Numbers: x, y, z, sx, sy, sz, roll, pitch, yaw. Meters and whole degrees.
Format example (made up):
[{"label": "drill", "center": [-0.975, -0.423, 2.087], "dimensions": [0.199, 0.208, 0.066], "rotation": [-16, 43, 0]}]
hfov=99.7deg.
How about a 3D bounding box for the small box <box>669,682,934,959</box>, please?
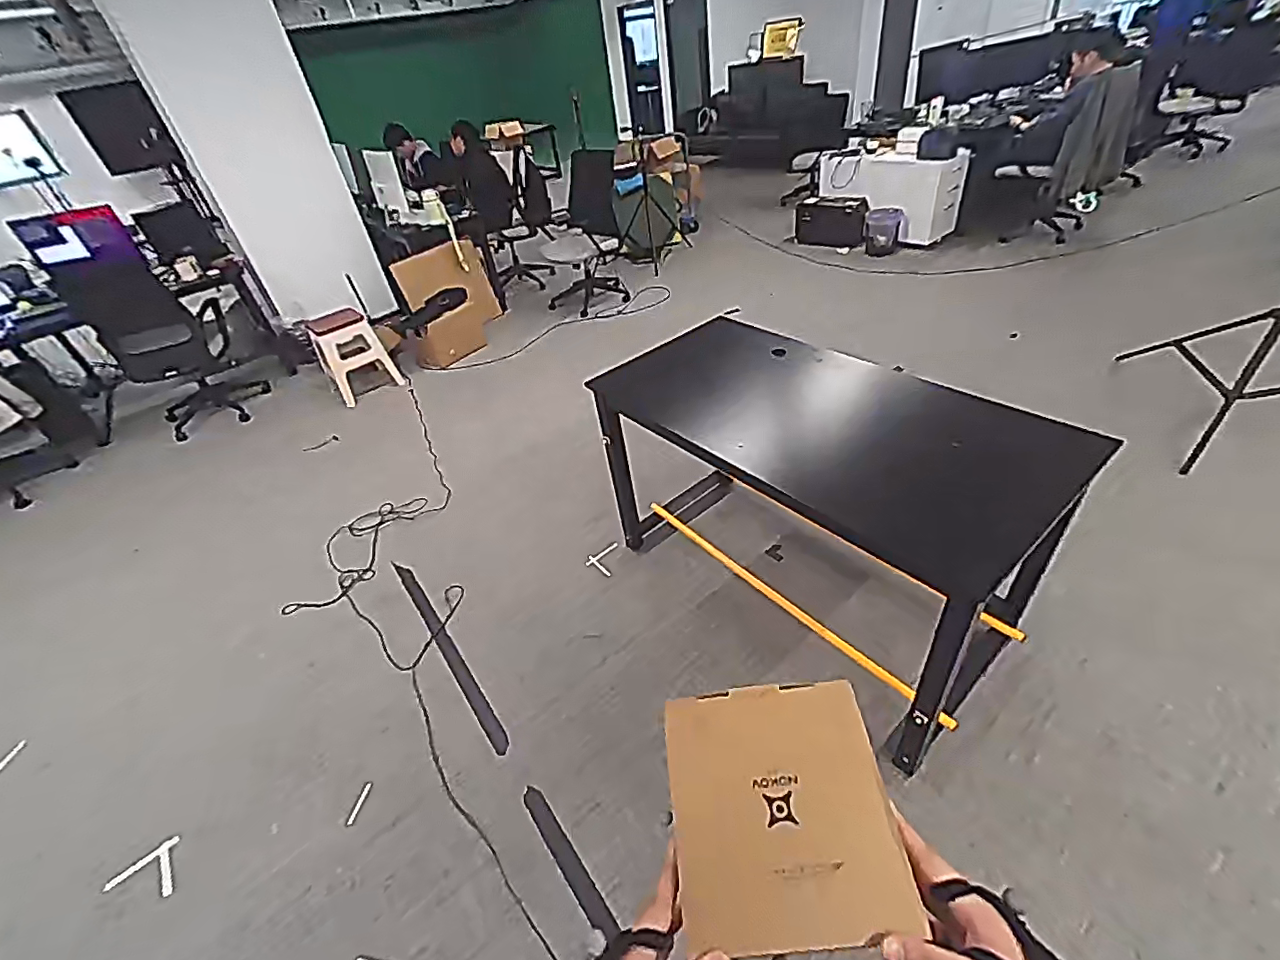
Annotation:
[{"label": "small box", "center": [0.118, 0.301, 0.475], "dimensions": [0.168, 0.176, 0.179], "rotation": [-8, 49, 3]}]
